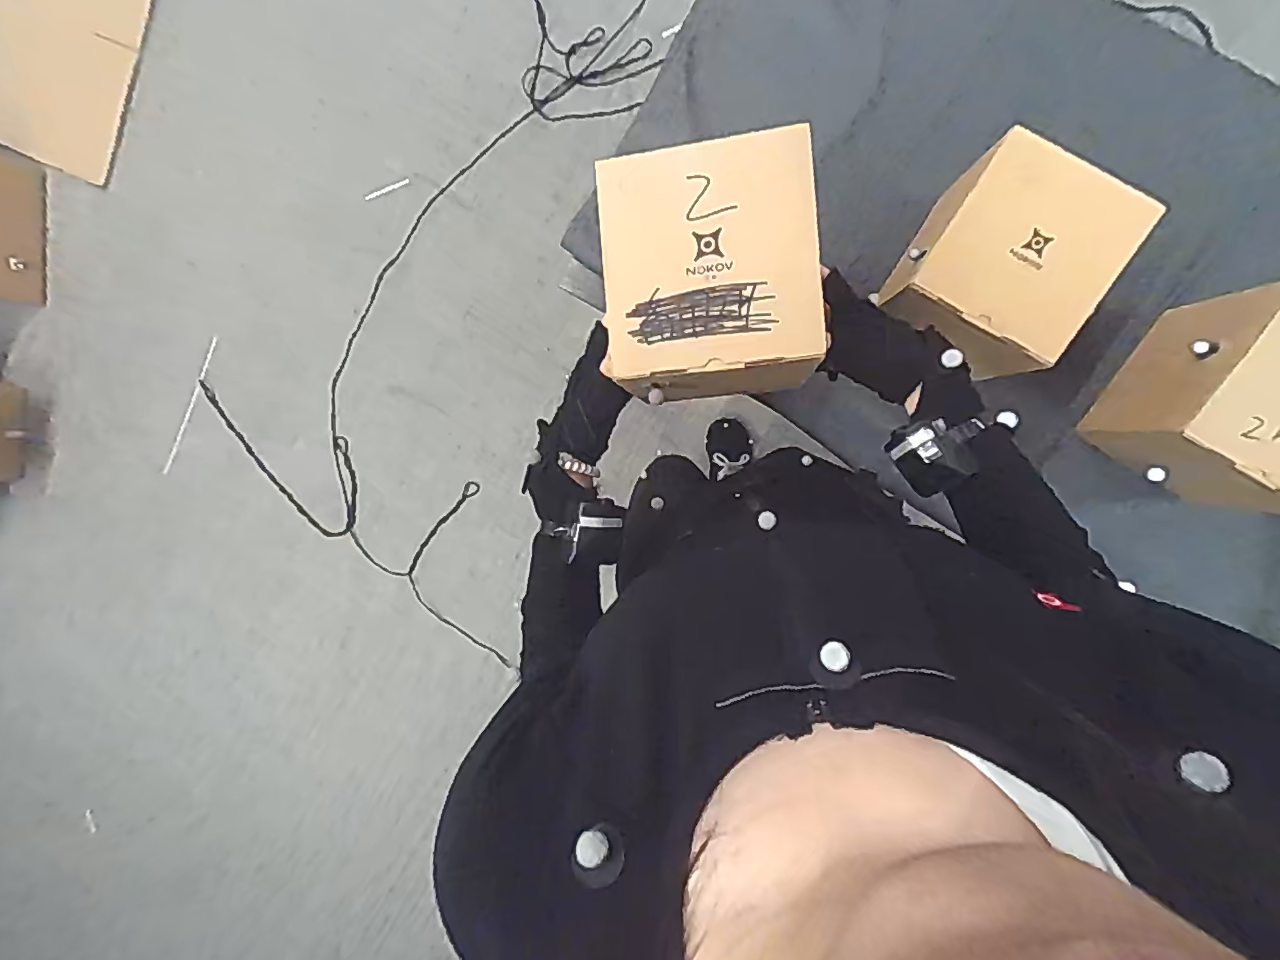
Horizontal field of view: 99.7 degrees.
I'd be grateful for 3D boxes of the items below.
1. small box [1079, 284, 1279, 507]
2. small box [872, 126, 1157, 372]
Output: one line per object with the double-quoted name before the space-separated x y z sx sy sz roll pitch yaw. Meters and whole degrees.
"small box" 0.653 -0.090 0.599 0.168 0.176 0.179 32 99 3
"small box" 0.397 -0.241 0.615 0.168 0.176 0.179 31 99 2
